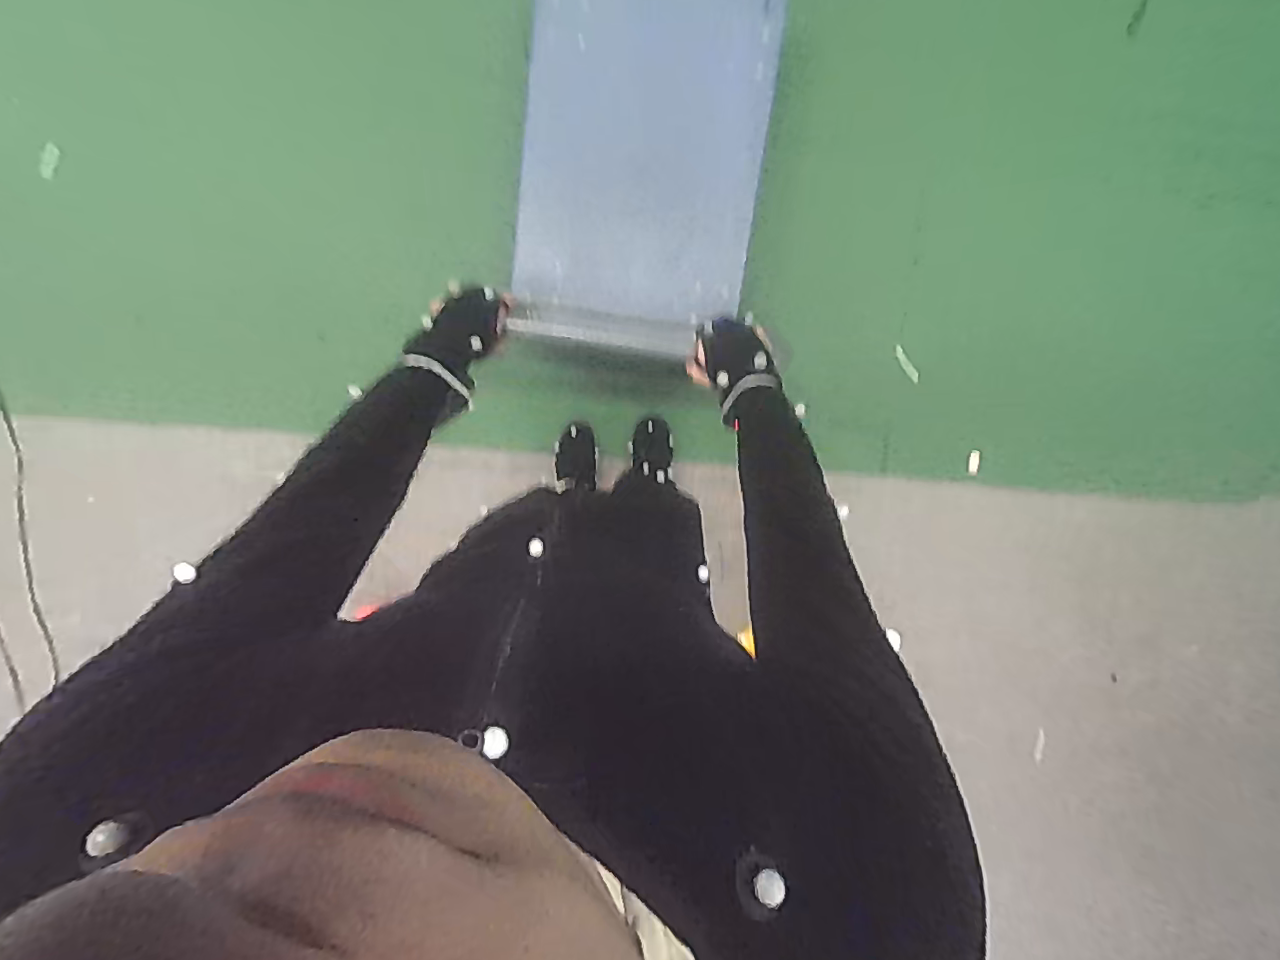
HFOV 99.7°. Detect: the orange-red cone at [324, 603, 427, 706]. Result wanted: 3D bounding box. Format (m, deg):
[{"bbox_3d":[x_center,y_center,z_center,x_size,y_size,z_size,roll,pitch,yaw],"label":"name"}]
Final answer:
[{"bbox_3d":[-0.775,0.516,1.519,0.199,0.360,0.198,-9,100,2],"label":"orange-red cone"}]
